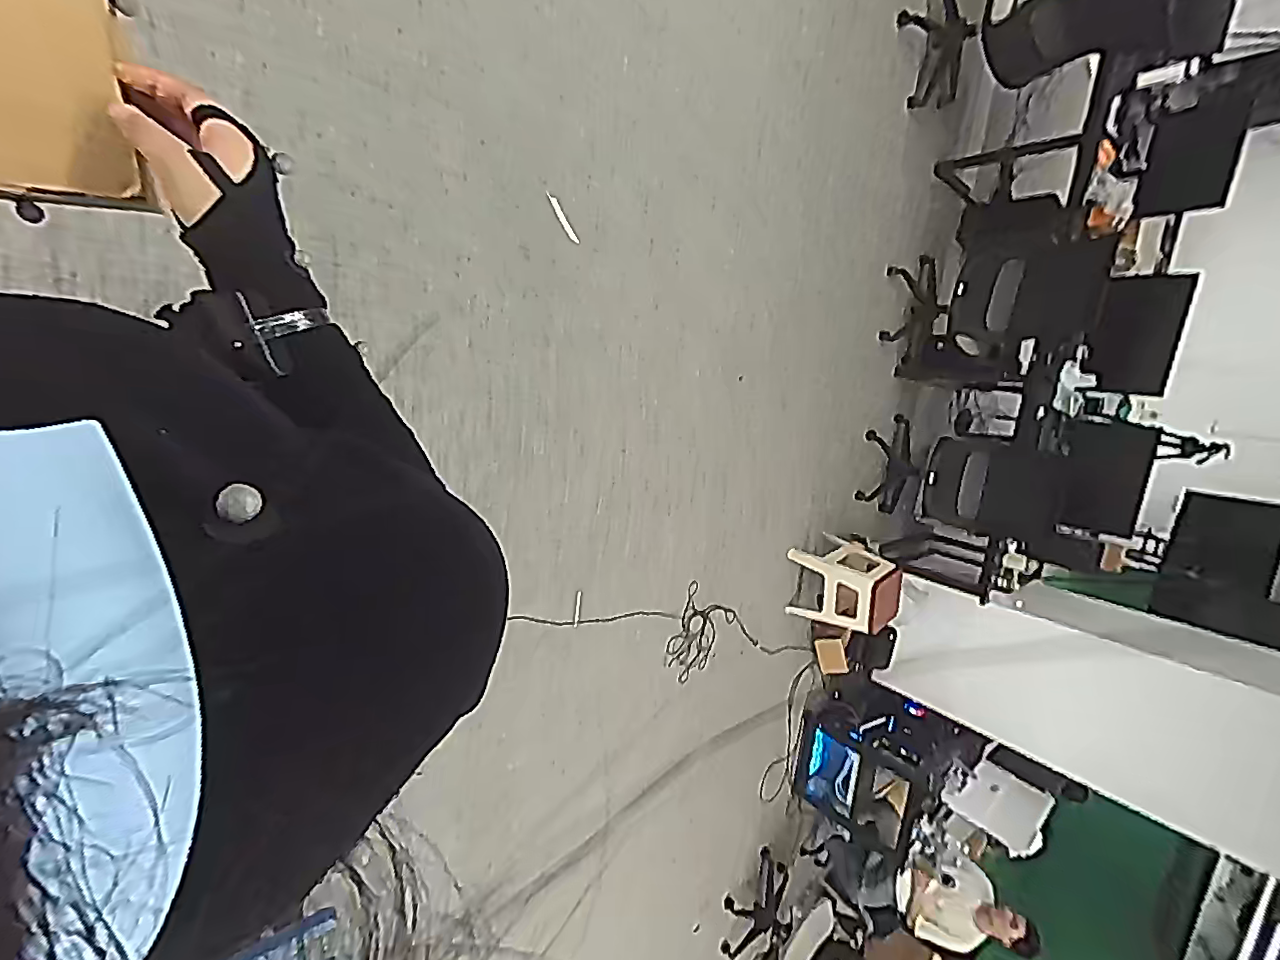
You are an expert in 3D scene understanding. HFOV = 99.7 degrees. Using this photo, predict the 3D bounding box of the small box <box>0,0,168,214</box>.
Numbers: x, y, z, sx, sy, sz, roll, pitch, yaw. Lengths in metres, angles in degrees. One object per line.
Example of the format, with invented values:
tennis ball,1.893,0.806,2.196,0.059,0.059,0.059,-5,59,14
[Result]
small box,-0.448,-0.290,0.367,0.168,0.176,0.179,-11,116,-34
